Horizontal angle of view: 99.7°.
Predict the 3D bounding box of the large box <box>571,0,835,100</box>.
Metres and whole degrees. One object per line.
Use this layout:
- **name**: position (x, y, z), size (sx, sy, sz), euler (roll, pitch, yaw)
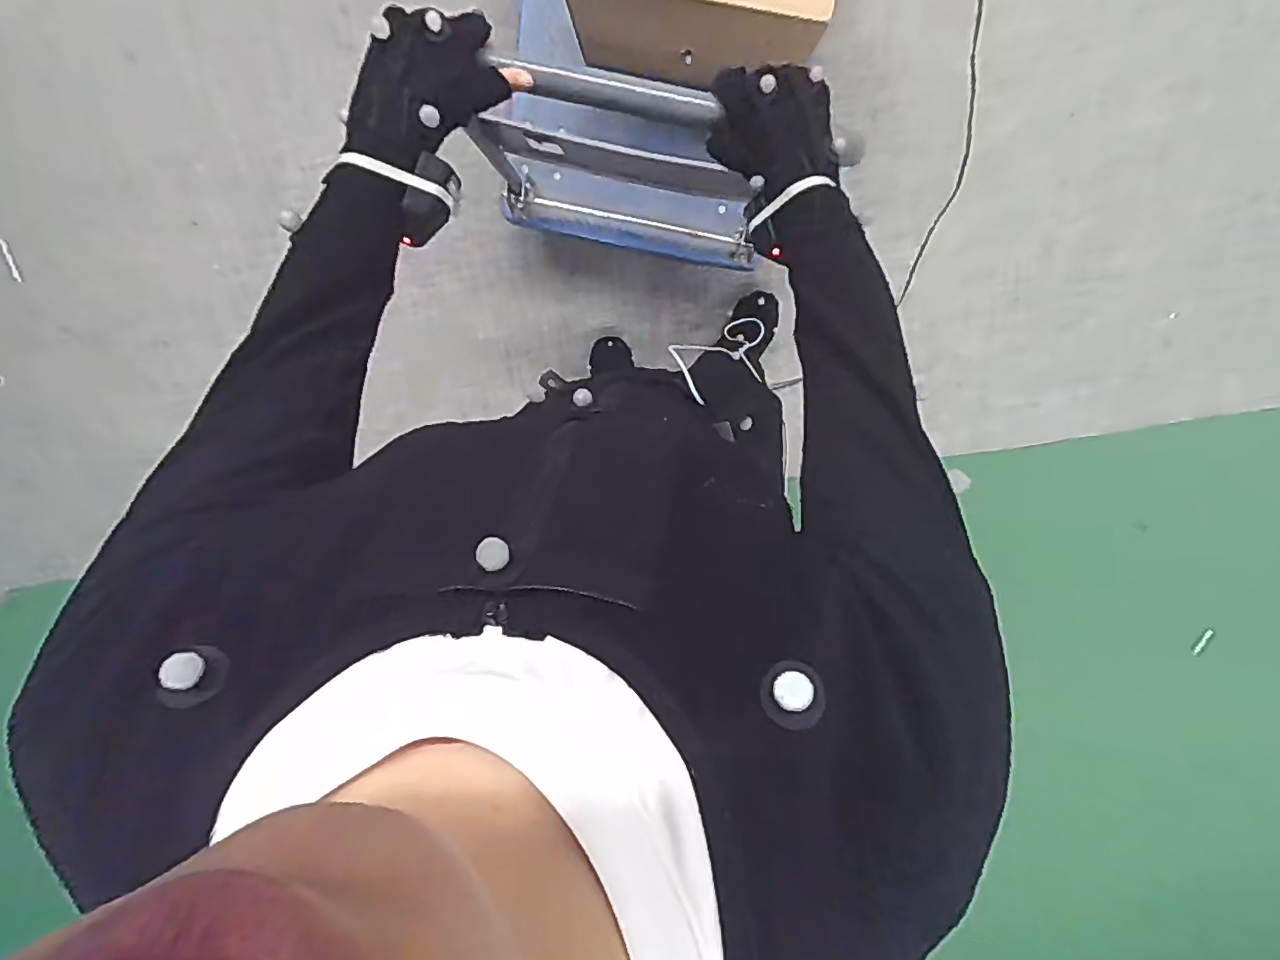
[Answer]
- **large box**: position (0.117, -0.889, 0.901), size (0.408, 0.320, 0.320), euler (10, 106, 1)
